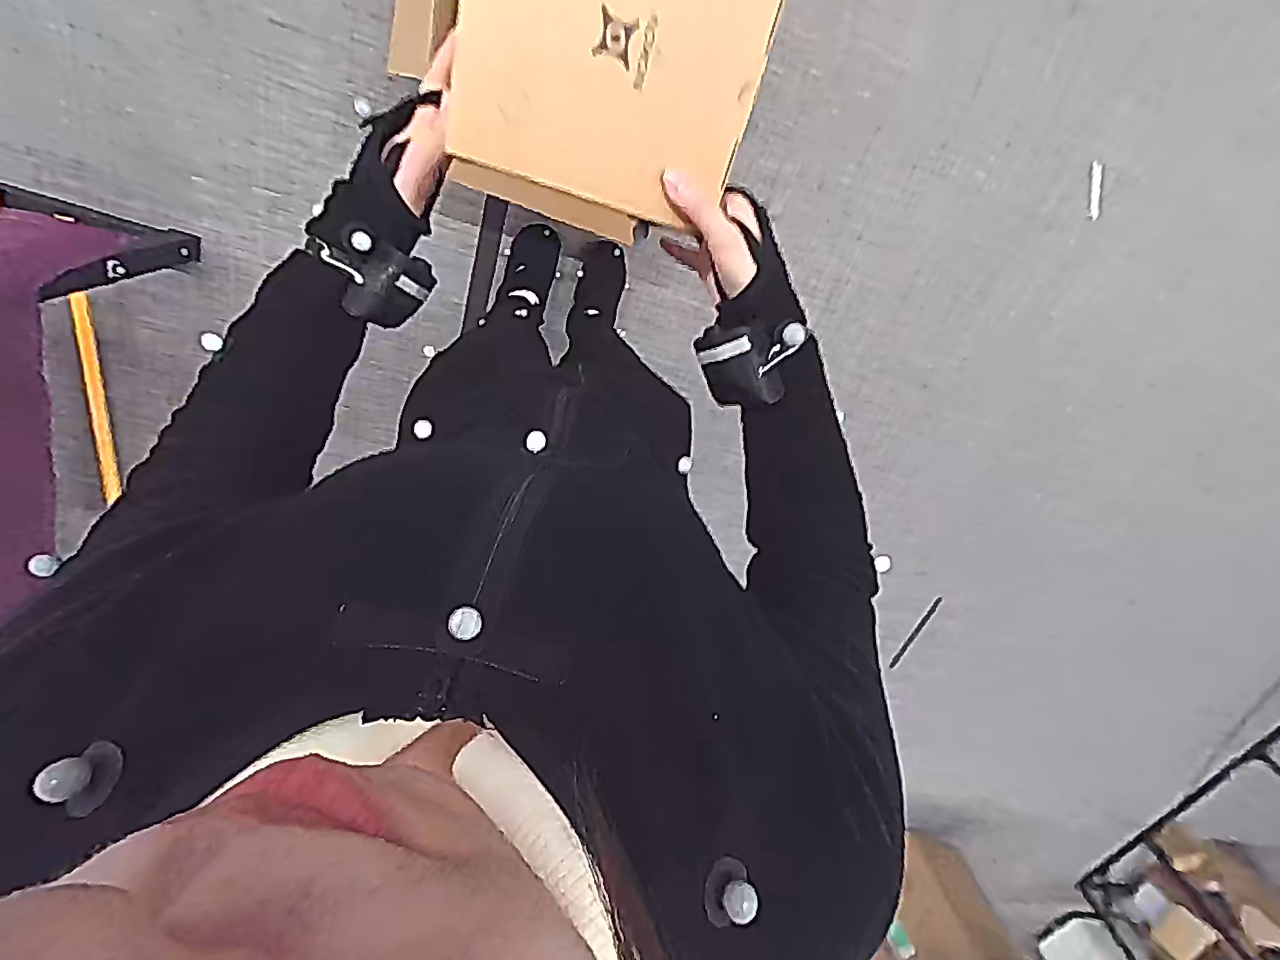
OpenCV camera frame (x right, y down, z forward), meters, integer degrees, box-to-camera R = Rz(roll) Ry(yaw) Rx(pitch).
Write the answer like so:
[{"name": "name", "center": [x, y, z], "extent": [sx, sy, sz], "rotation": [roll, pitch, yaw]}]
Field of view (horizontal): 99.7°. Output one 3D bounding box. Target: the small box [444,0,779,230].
[{"name": "small box", "center": [-0.033, -0.291, 0.376], "extent": [0.179, 0.176, 0.168], "rotation": [7, 117, -23]}]
